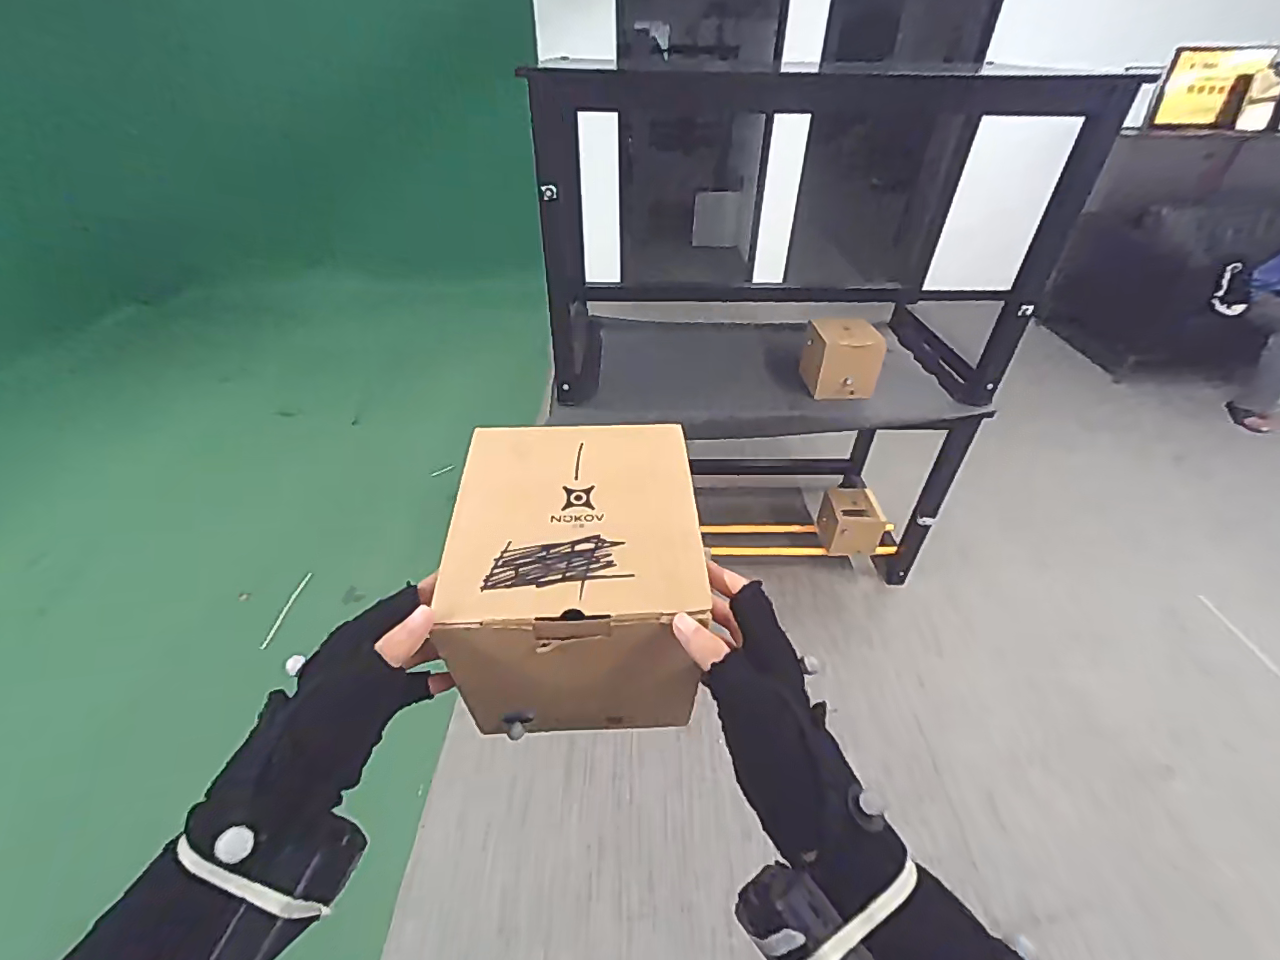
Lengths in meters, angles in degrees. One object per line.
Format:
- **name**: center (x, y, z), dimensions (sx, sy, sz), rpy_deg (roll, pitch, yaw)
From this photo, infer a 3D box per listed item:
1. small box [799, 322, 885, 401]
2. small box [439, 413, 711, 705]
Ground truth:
- **small box**: center (0.564, -0.338, 1.540), dimensions (0.168, 0.176, 0.179), rpy_deg (-1, 37, -1)
- **small box**: center (-0.042, 0.066, 0.431), dimensions (0.168, 0.176, 0.179), rpy_deg (-1, 44, -3)
